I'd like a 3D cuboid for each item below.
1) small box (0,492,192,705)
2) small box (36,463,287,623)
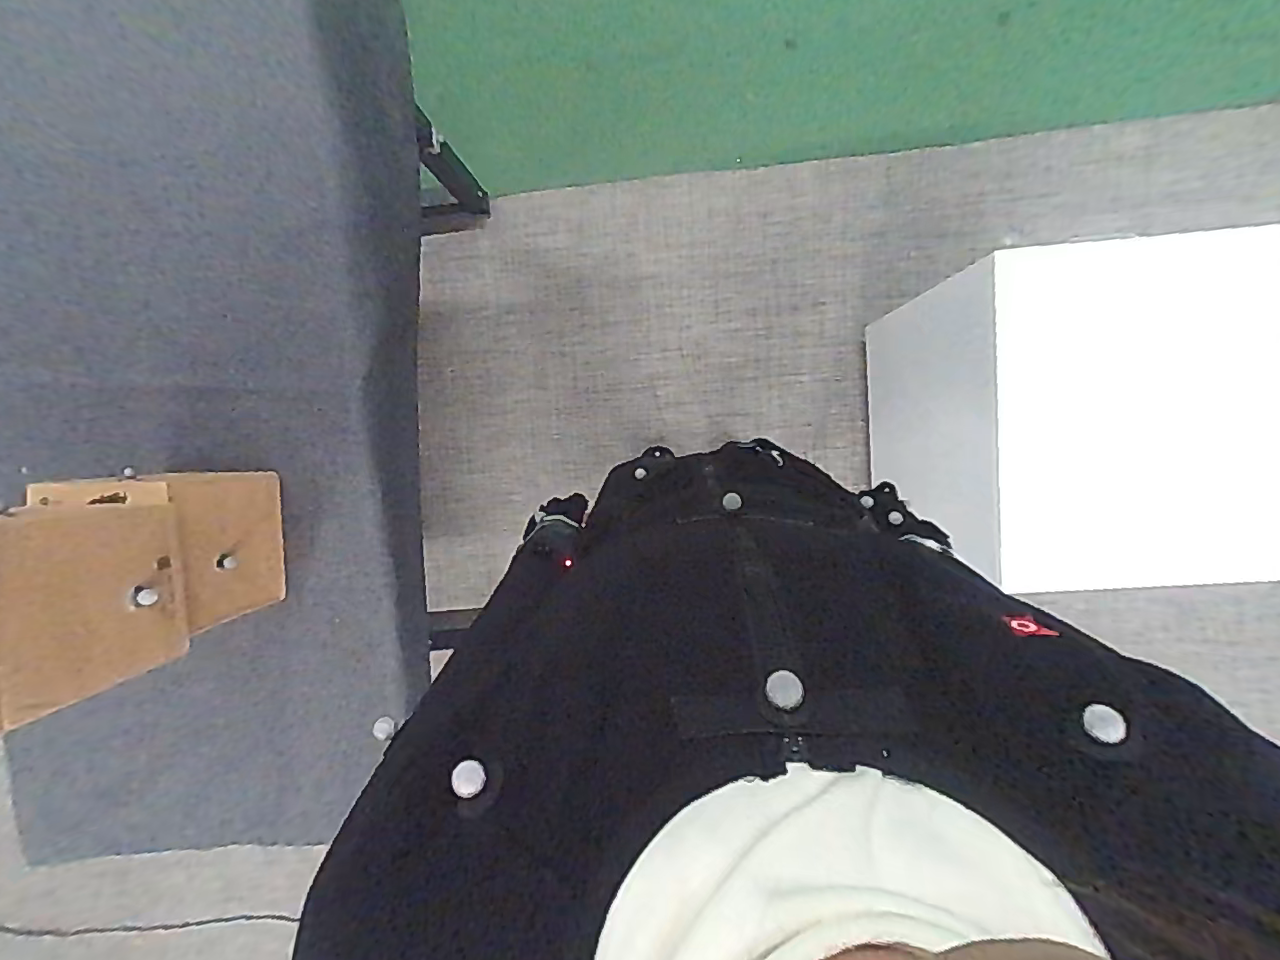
[{"bbox_3d":[-0.586,0.104,0.515,0.179,0.176,0.168,-4,94,7],"label":"small box"},{"bbox_3d":[-0.577,0.073,0.677,0.168,0.176,0.179,0,95,5],"label":"small box"}]
